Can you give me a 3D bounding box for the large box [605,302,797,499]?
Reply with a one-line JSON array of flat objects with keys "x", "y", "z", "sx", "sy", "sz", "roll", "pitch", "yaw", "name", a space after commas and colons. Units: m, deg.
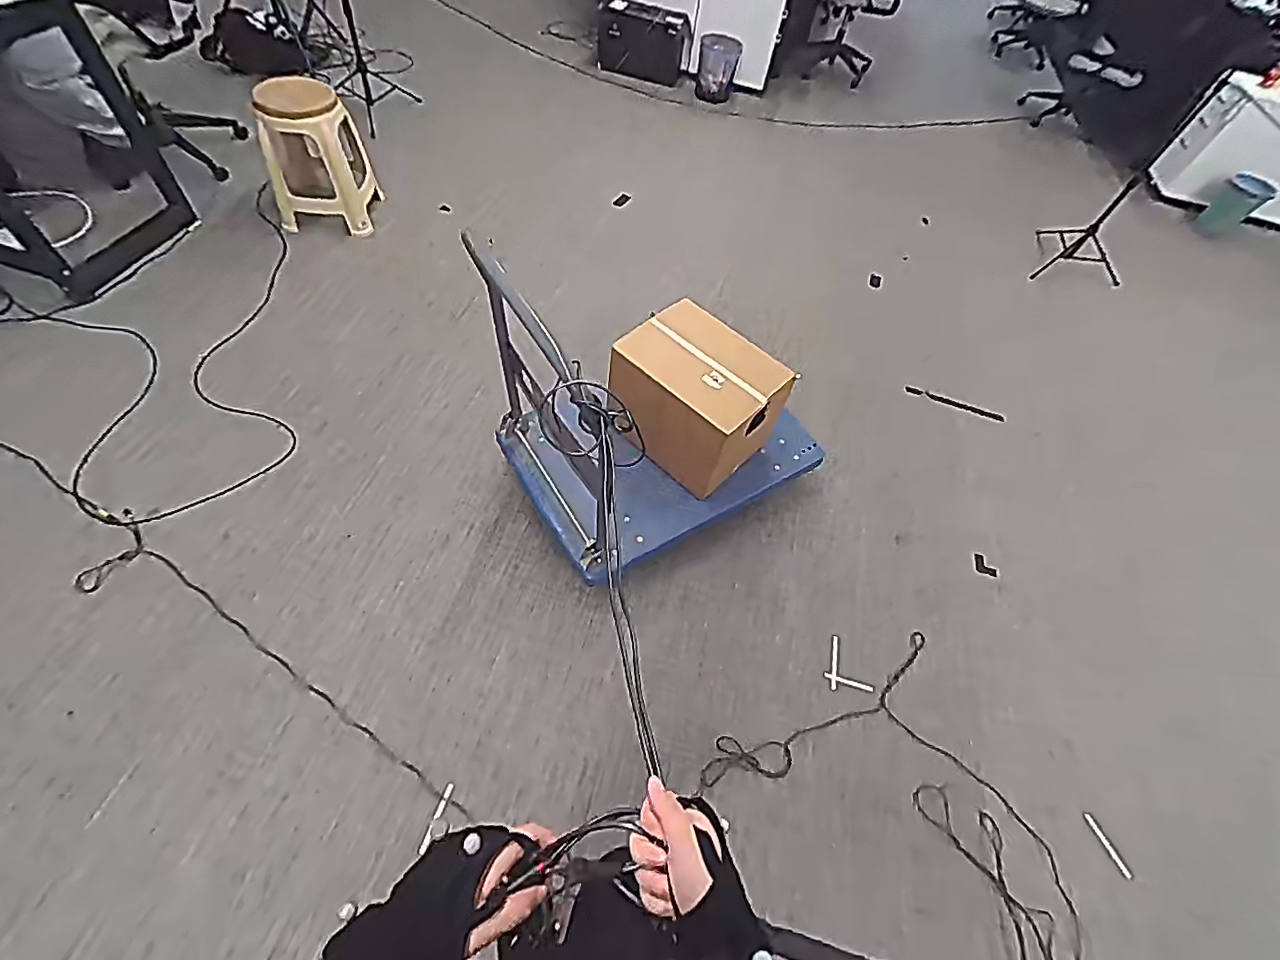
[{"x": 0.154, "y": -0.227, "z": 1.545, "sx": 0.408, "sy": 0.320, "sz": 0.320, "roll": 41, "pitch": 62, "yaw": 17, "name": "large box"}]
